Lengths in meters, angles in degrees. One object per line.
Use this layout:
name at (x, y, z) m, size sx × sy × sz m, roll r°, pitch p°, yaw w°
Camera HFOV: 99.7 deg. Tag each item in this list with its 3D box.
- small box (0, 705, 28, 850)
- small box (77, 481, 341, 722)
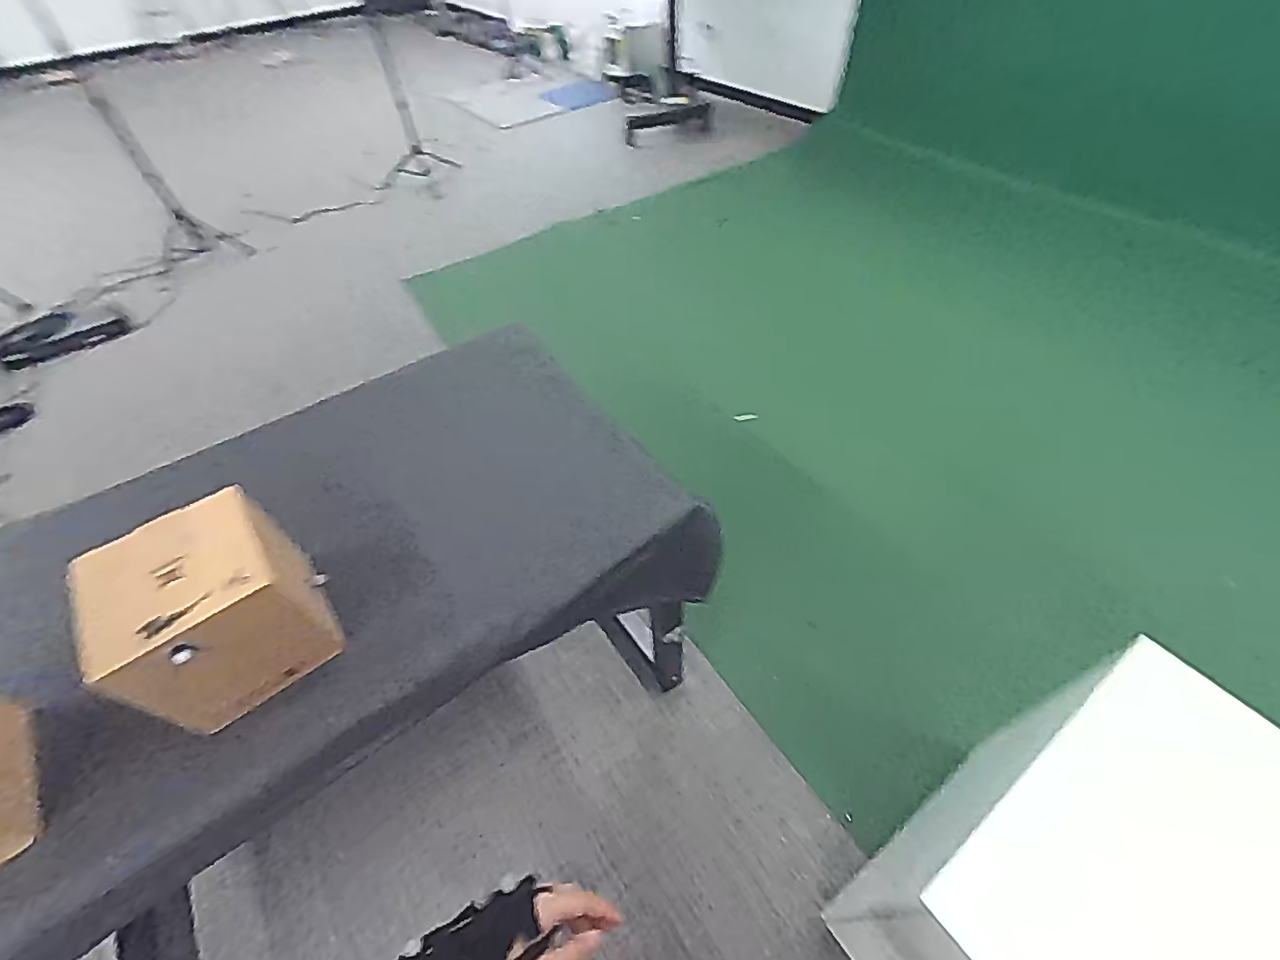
small box at (-0.736, 0.300, 0.500) m, size 0.168 × 0.176 × 0.179 m, roll -34°, pitch 56°, yaw -23°
small box at (-0.483, 0.140, 0.623) m, size 0.168 × 0.176 × 0.179 m, roll -32°, pitch 55°, yaw -23°
